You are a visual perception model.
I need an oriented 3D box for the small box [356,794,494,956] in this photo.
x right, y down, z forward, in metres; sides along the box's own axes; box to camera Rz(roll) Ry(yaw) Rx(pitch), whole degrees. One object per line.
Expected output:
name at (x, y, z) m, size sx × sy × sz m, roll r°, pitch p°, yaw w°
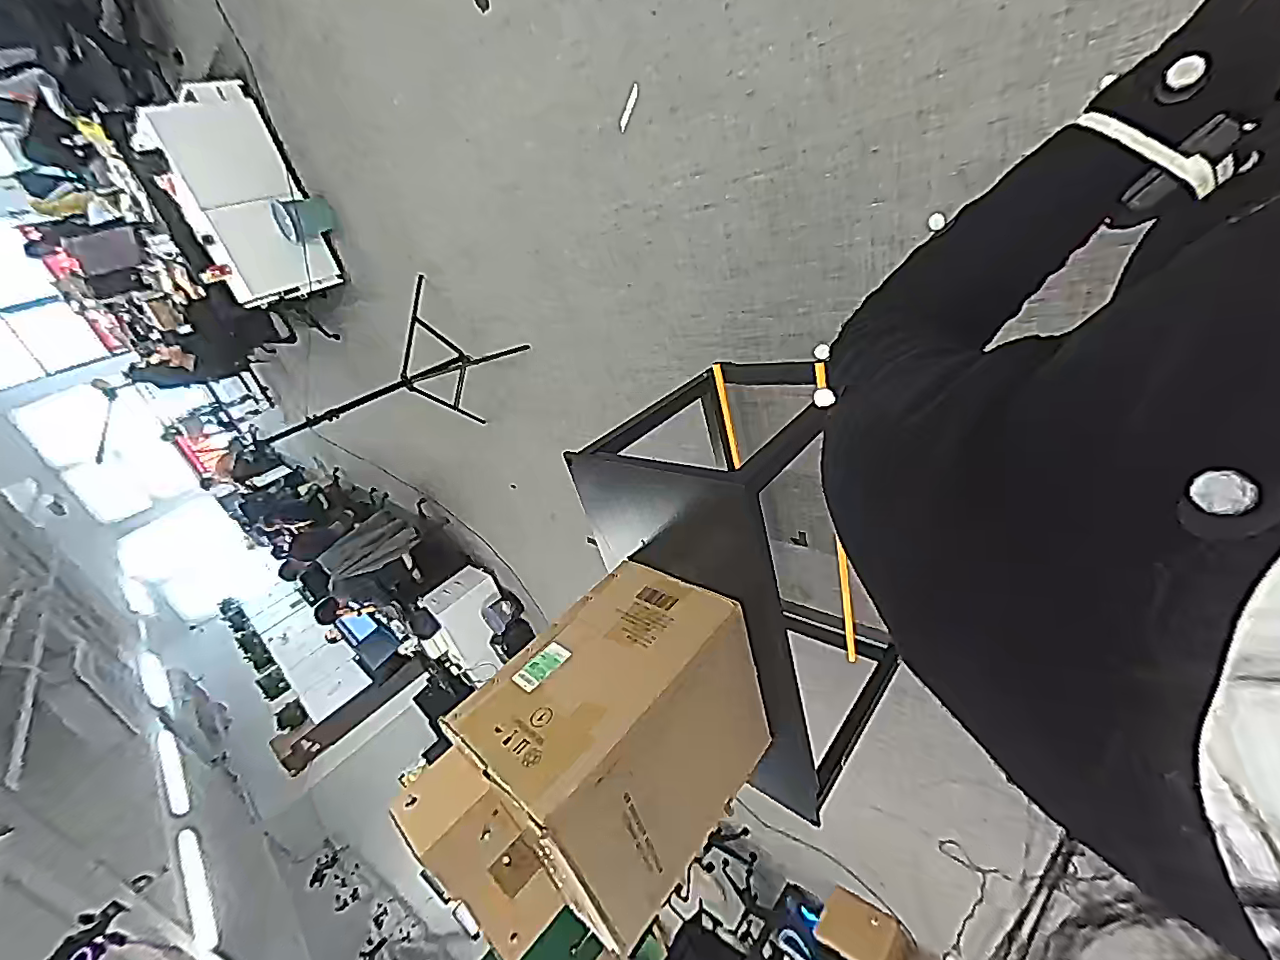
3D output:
small box at (-0.422, 0.769, 1.077) m, size 0.179 × 0.176 × 0.168 m, roll 12°, pitch 130°, yaw 46°

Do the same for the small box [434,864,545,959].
small box at (-0.337, 1.014, 1.199) m, size 0.168 × 0.176 × 0.179 m, roll 13°, pitch 128°, yaw 44°
